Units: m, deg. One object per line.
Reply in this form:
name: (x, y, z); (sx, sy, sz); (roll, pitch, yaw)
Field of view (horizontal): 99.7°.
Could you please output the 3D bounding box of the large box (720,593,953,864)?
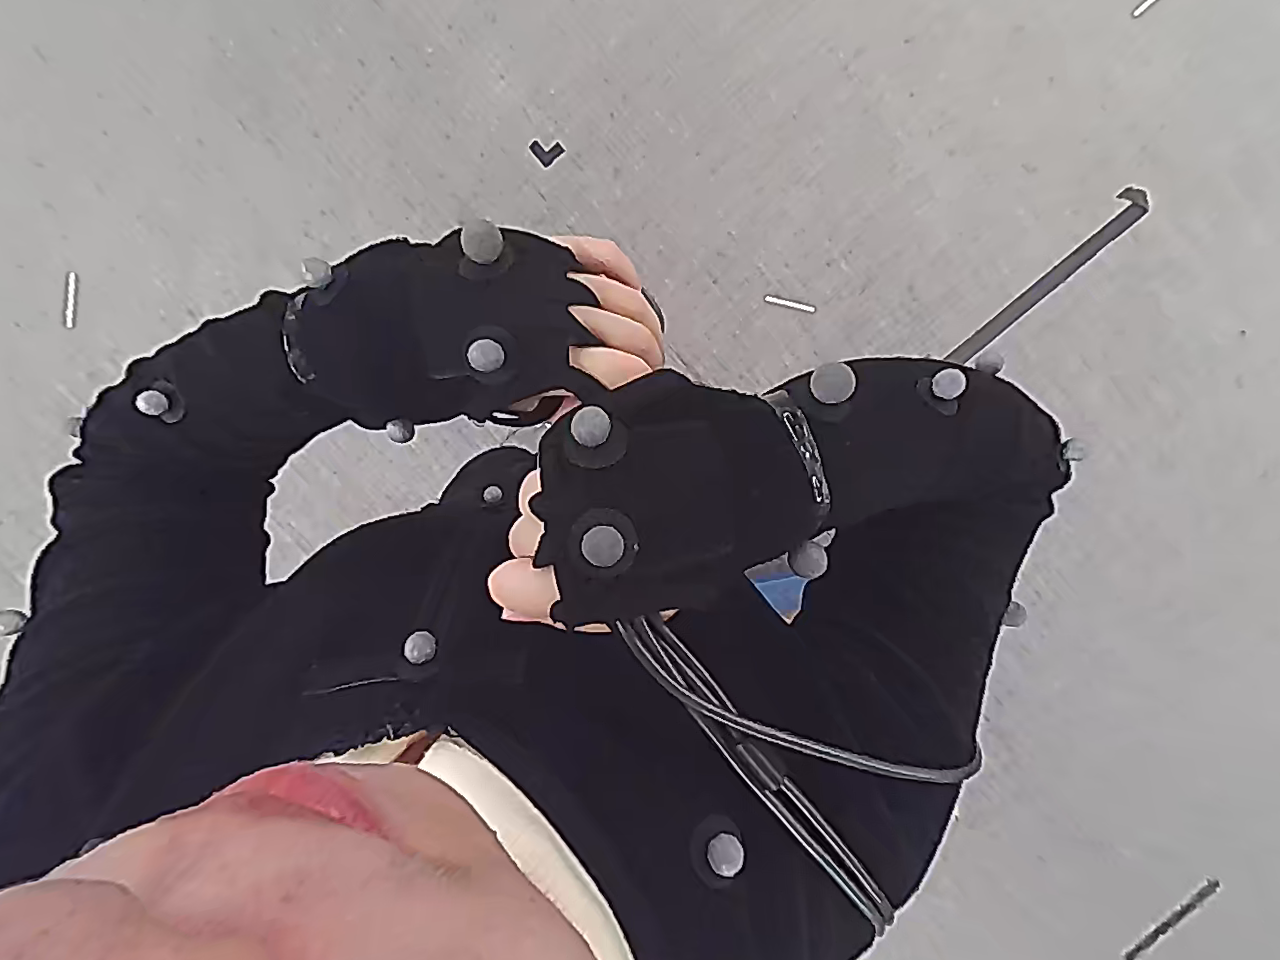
large box: (0.418, 0.531, 1.230); (0.320, 0.320, 0.408); (-22, 97, -1)
